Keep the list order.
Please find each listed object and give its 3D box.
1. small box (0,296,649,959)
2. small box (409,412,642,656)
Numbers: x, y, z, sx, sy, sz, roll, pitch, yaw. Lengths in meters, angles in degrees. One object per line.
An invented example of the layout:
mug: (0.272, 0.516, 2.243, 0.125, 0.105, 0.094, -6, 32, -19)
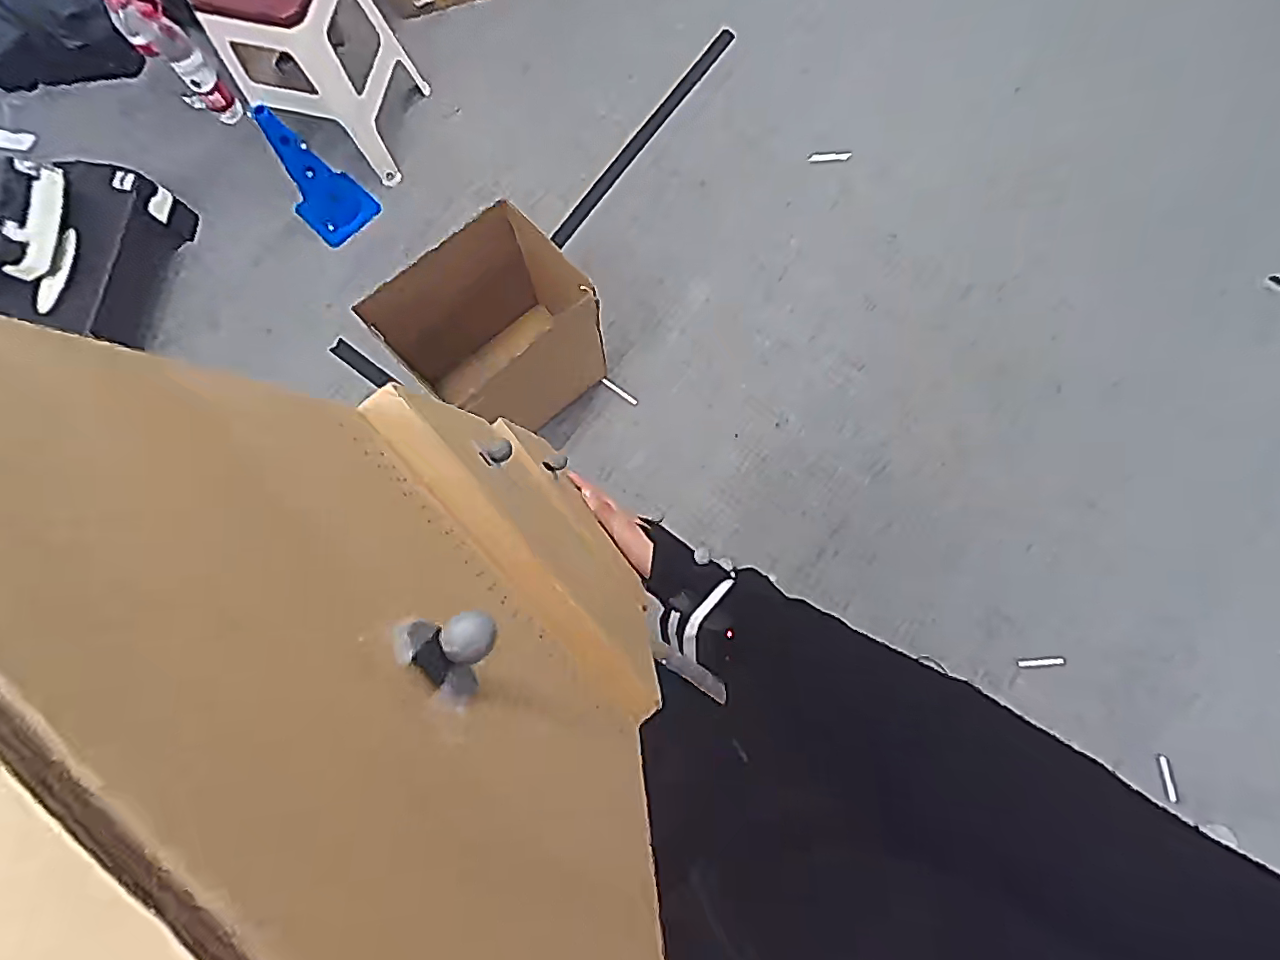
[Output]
small box: (-0.116, 0.082, 0.126, 0.168, 0.176, 0.179, -42, 93, -2)
small box: (-0.118, 0.068, 0.456, 0.168, 0.176, 0.179, -37, 93, -2)
